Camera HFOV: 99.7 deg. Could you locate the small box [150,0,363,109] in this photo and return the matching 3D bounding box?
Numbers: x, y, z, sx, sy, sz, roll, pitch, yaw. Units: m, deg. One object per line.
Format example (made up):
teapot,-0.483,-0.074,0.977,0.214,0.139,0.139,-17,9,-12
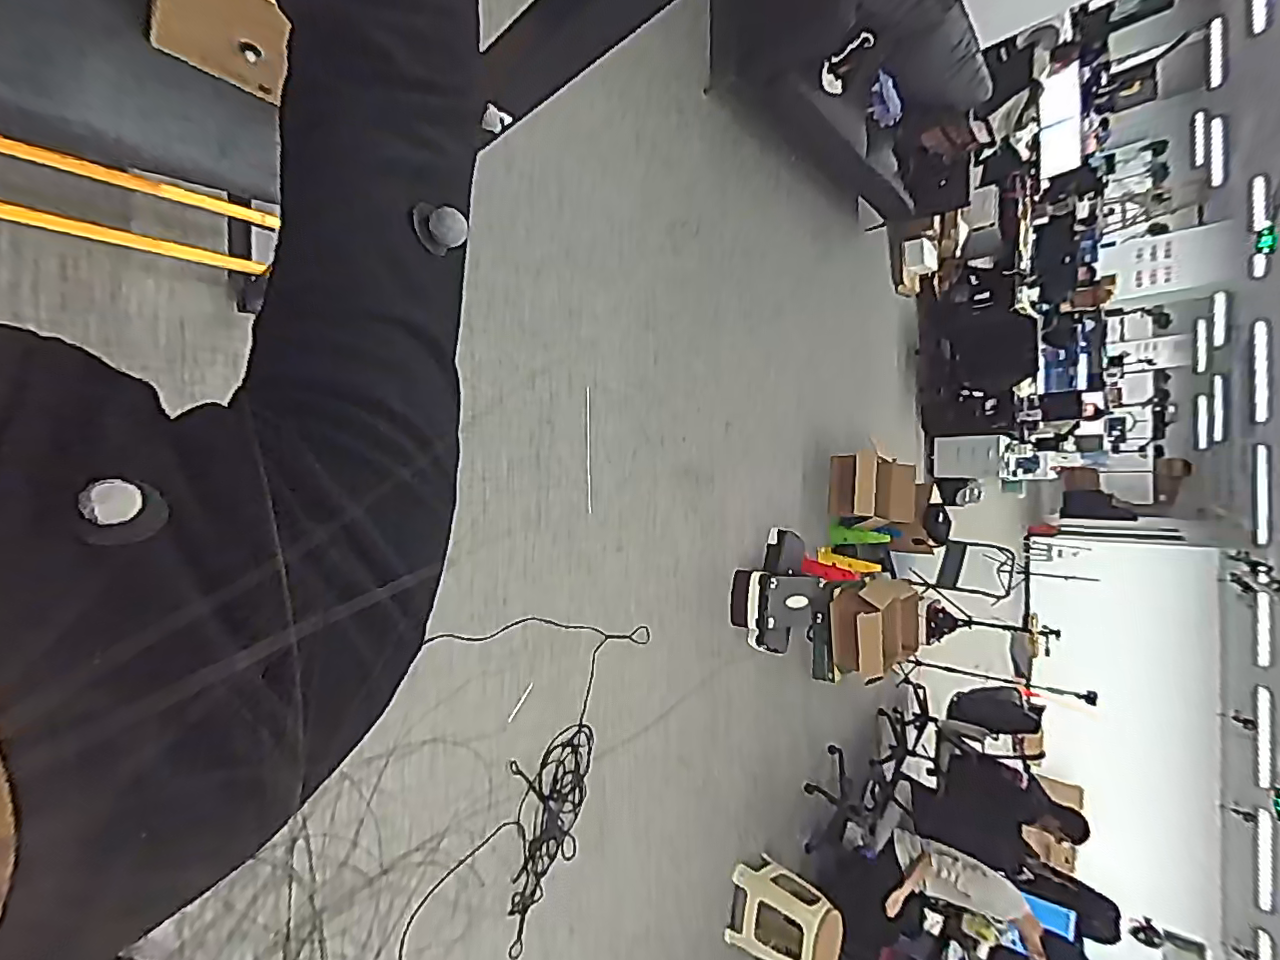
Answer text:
small box,-0.424,-0.568,0.603,0.168,0.176,0.179,4,86,-48
